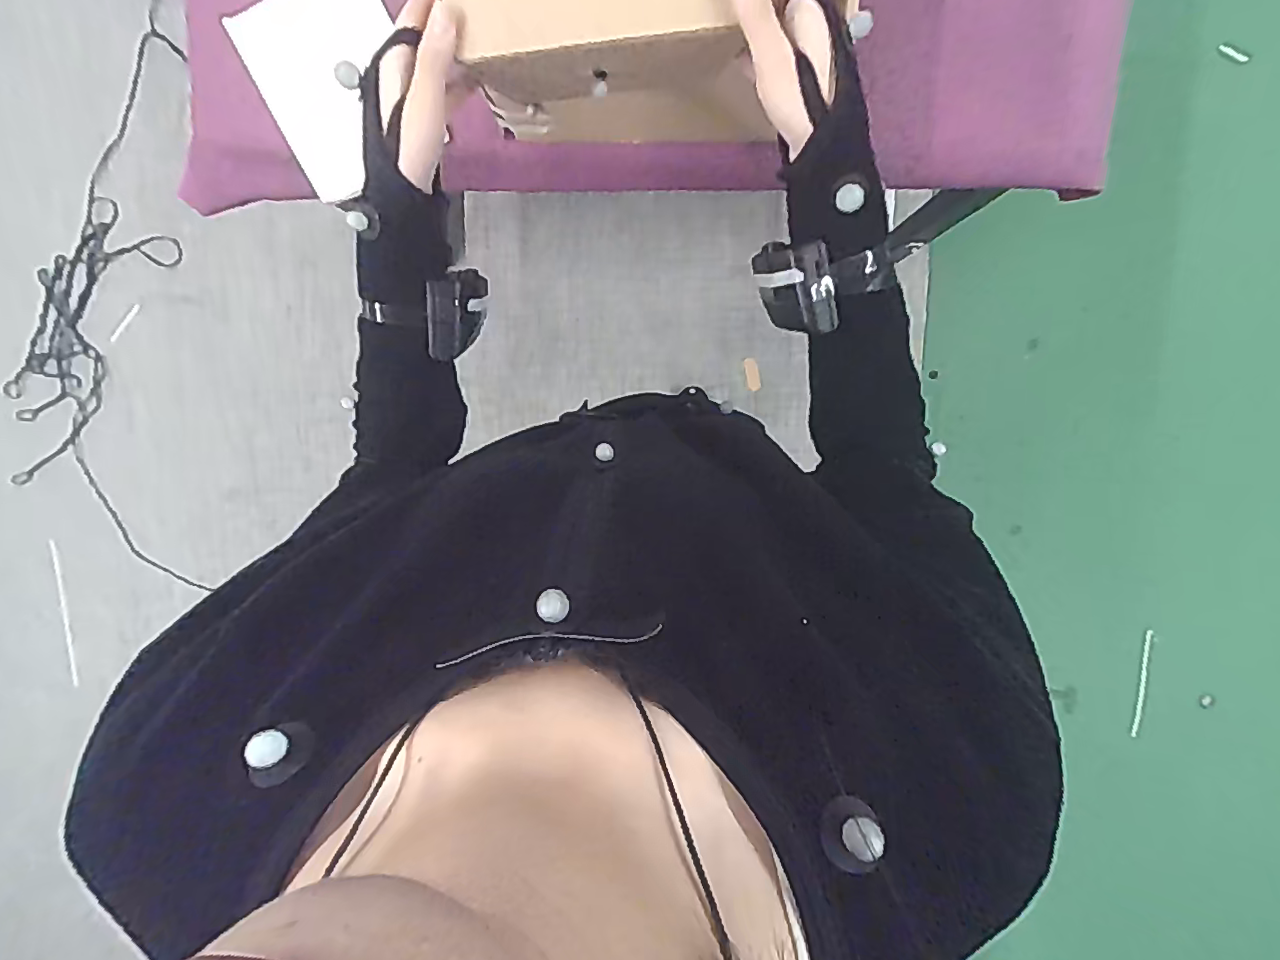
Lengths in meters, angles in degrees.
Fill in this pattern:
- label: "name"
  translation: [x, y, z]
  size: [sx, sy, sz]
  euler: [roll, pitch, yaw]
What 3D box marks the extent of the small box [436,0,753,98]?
- label: "small box"
  translation: [-0.031, -0.356, 0.337]
  size: [0.179, 0.176, 0.168]
  euler: [-5, 117, 3]
